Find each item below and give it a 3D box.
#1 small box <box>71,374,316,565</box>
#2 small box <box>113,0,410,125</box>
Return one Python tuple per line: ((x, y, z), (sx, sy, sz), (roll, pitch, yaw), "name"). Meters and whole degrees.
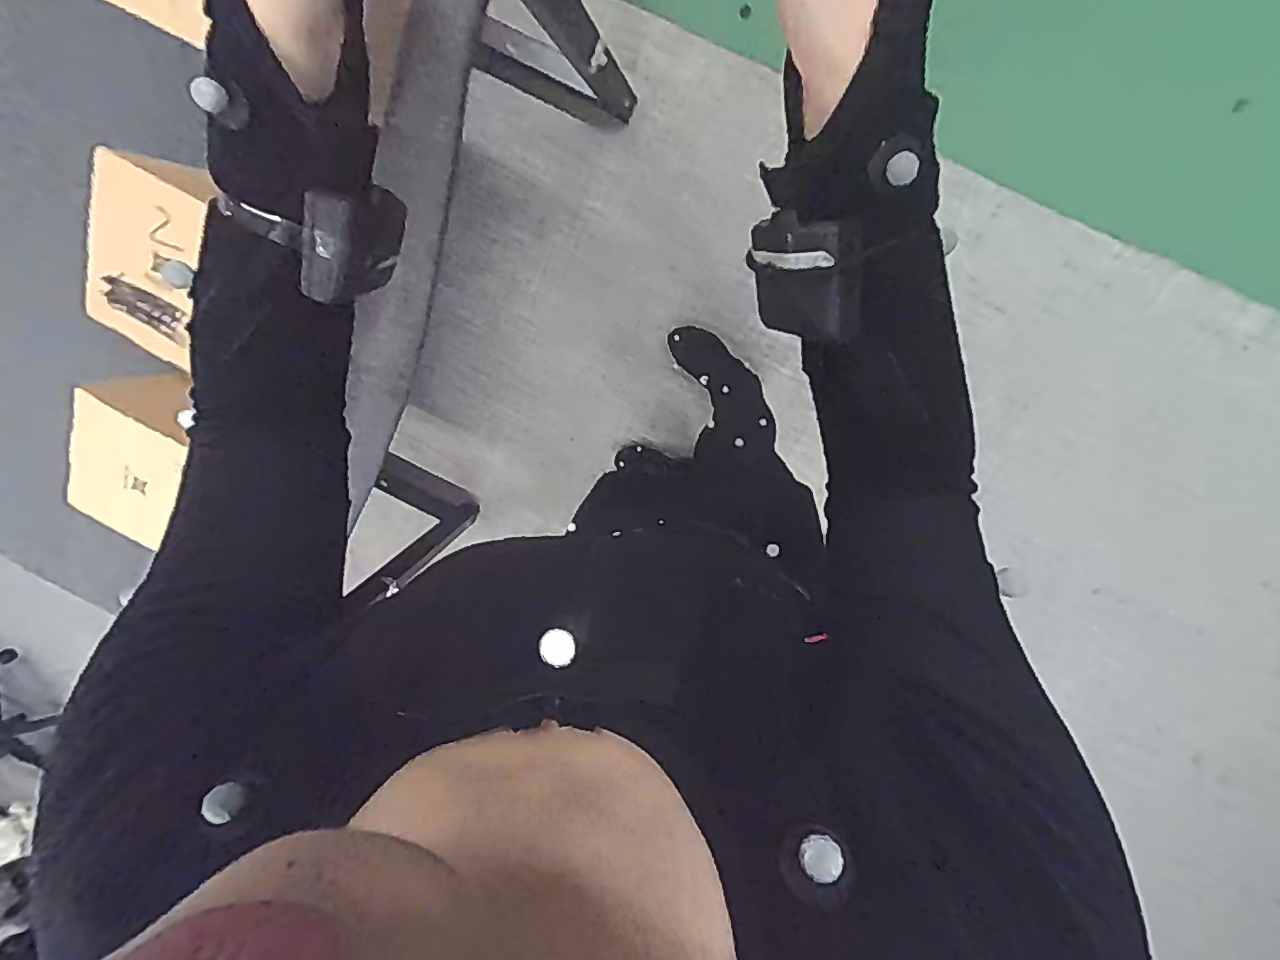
((-0.576, -0.026, 0.710), (0.179, 0.176, 0.168), (29, 113, 2), "small box")
((-0.340, -0.474, 0.498), (0.168, 0.176, 0.179), (29, 114, 4), "small box")
